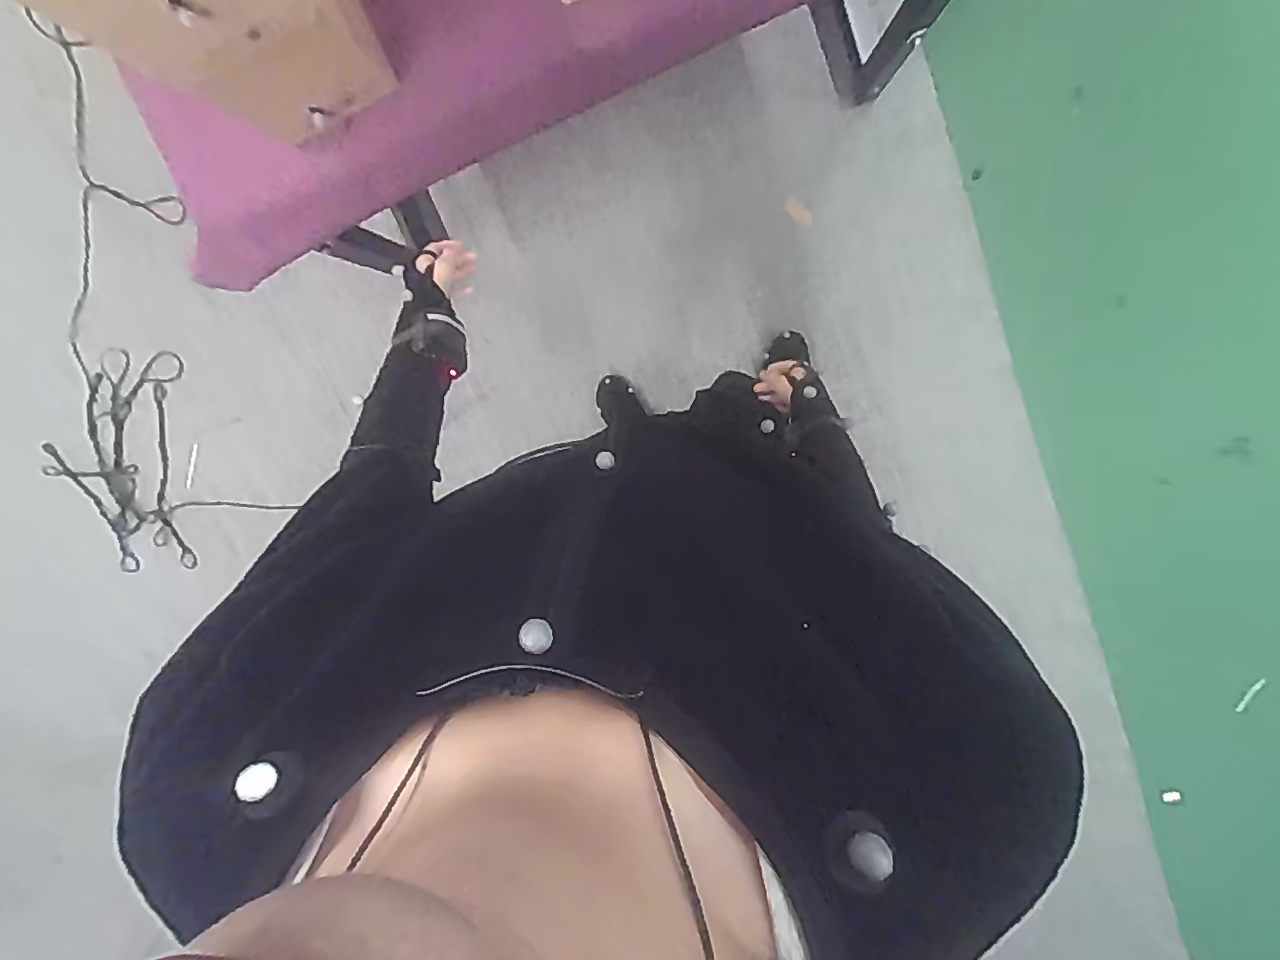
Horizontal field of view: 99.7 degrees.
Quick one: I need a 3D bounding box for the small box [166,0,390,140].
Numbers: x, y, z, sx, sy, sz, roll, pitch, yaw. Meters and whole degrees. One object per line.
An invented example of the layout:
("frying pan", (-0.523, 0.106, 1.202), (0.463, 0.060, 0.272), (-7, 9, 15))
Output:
("small box", (-0.416, -0.522, 0.591), (0.168, 0.176, 0.179), (-23, 100, 8))
